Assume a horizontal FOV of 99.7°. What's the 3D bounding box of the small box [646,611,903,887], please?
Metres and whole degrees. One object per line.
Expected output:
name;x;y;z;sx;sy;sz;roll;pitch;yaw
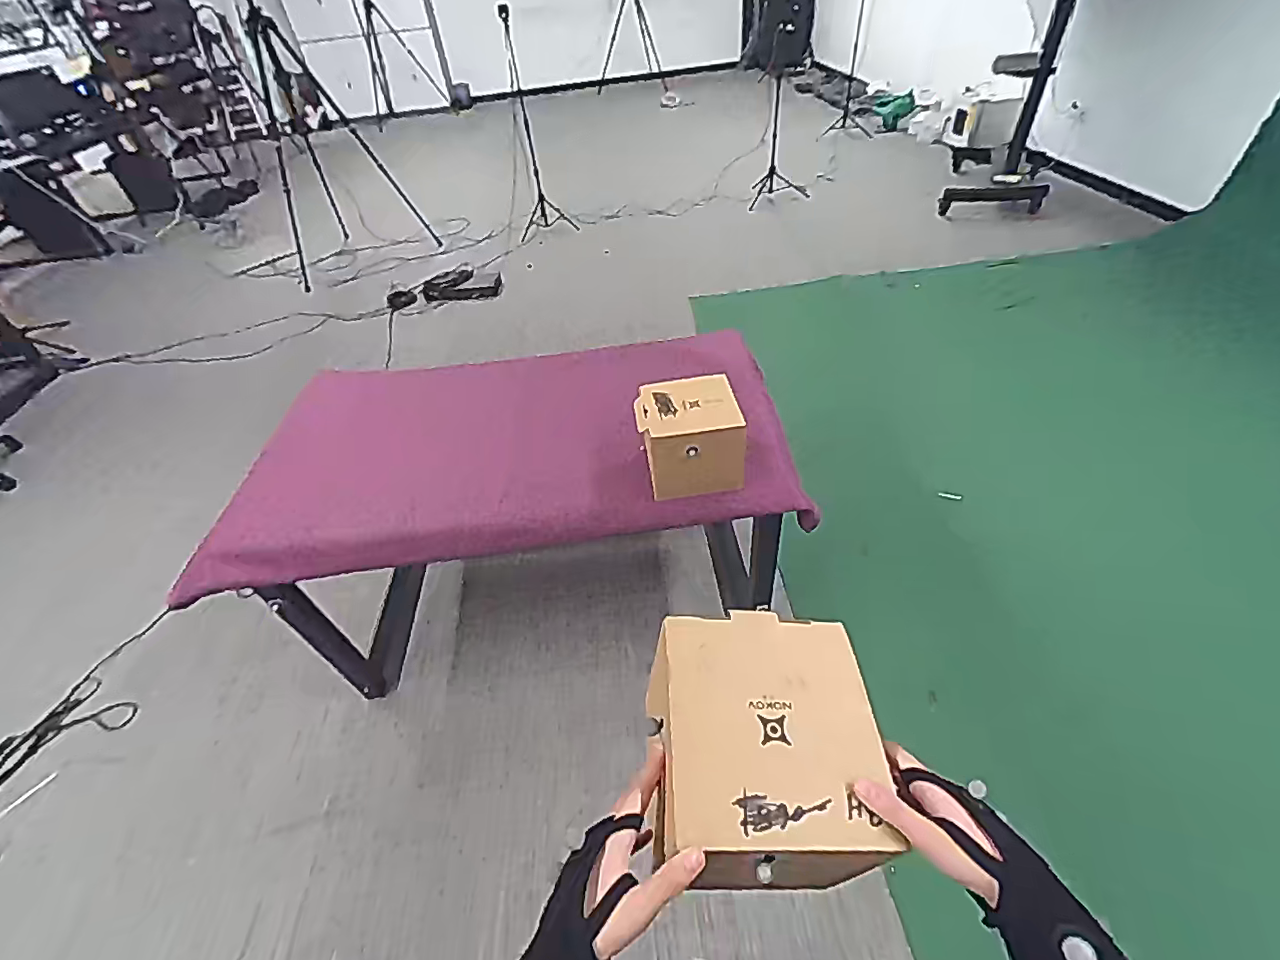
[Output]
small box;0.094;0.240;0.483;0.168;0.176;0.179;3;46;-3

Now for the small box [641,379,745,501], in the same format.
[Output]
small box;0.104;-0.075;1.073;0.179;0.176;0.168;-8;45;-1
